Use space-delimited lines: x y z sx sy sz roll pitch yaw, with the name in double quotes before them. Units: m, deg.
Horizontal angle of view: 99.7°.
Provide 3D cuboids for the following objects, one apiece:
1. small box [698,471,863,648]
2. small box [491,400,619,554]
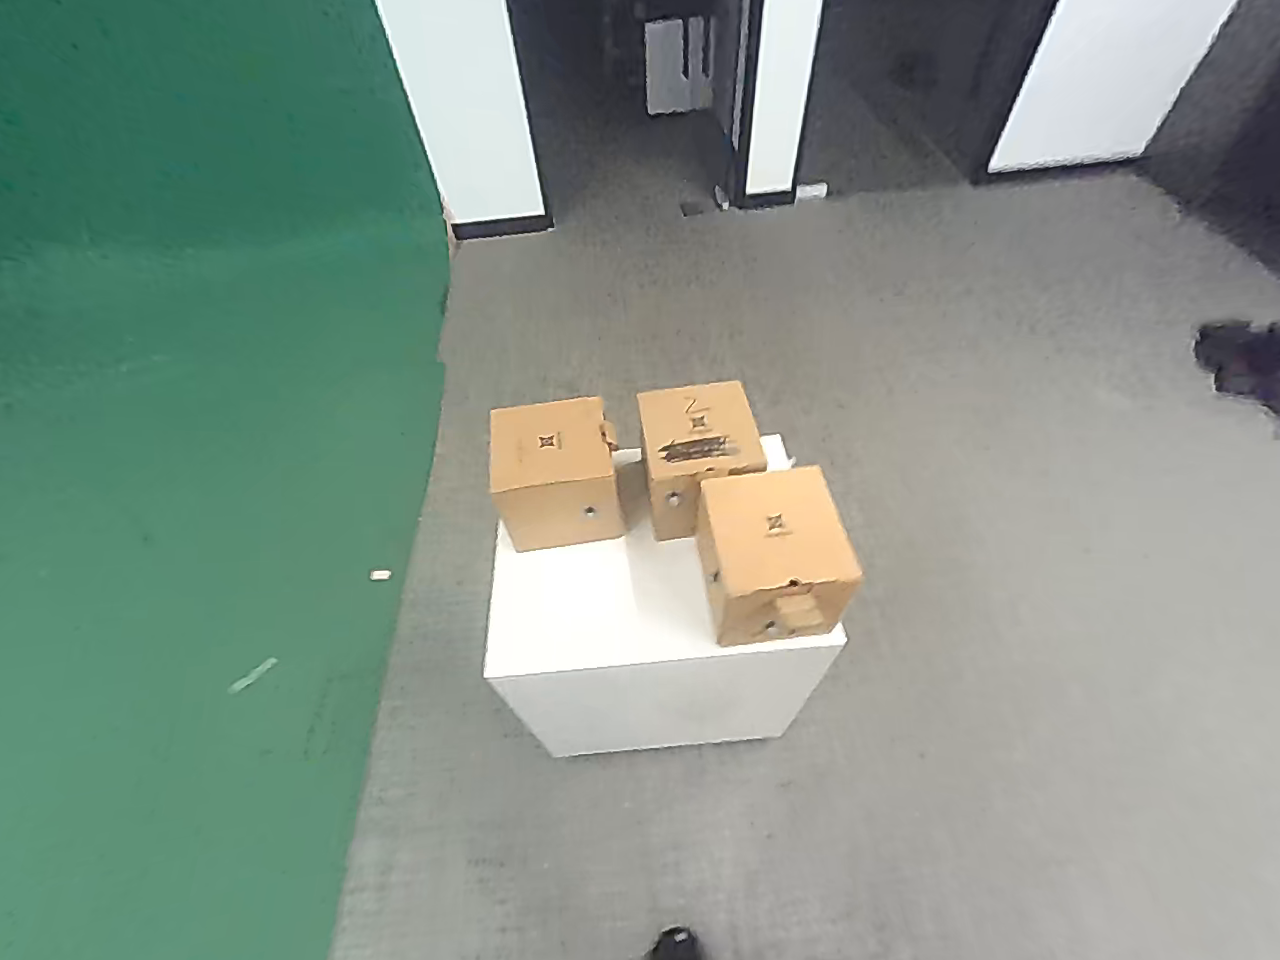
"small box" 0.177 0.112 0.748 0.168 0.176 0.179 -6 52 -2
"small box" -0.127 -0.002 0.854 0.179 0.176 0.168 -8 51 -4
